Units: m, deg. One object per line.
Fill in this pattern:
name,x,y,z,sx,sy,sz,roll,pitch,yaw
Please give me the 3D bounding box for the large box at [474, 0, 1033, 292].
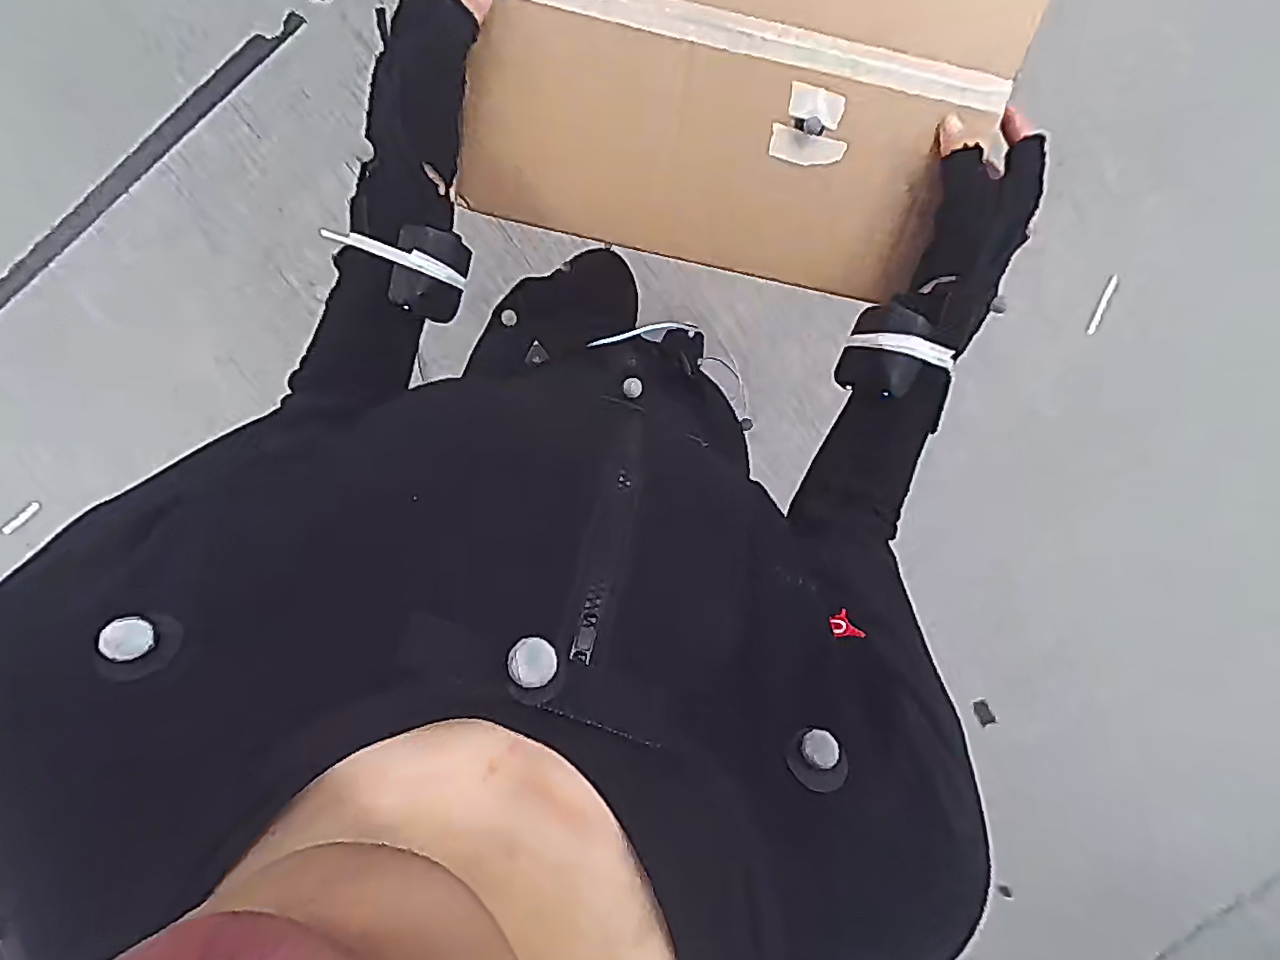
large box,0.081,-0.405,0.534,0.408,0.320,0.320,11,120,-4
